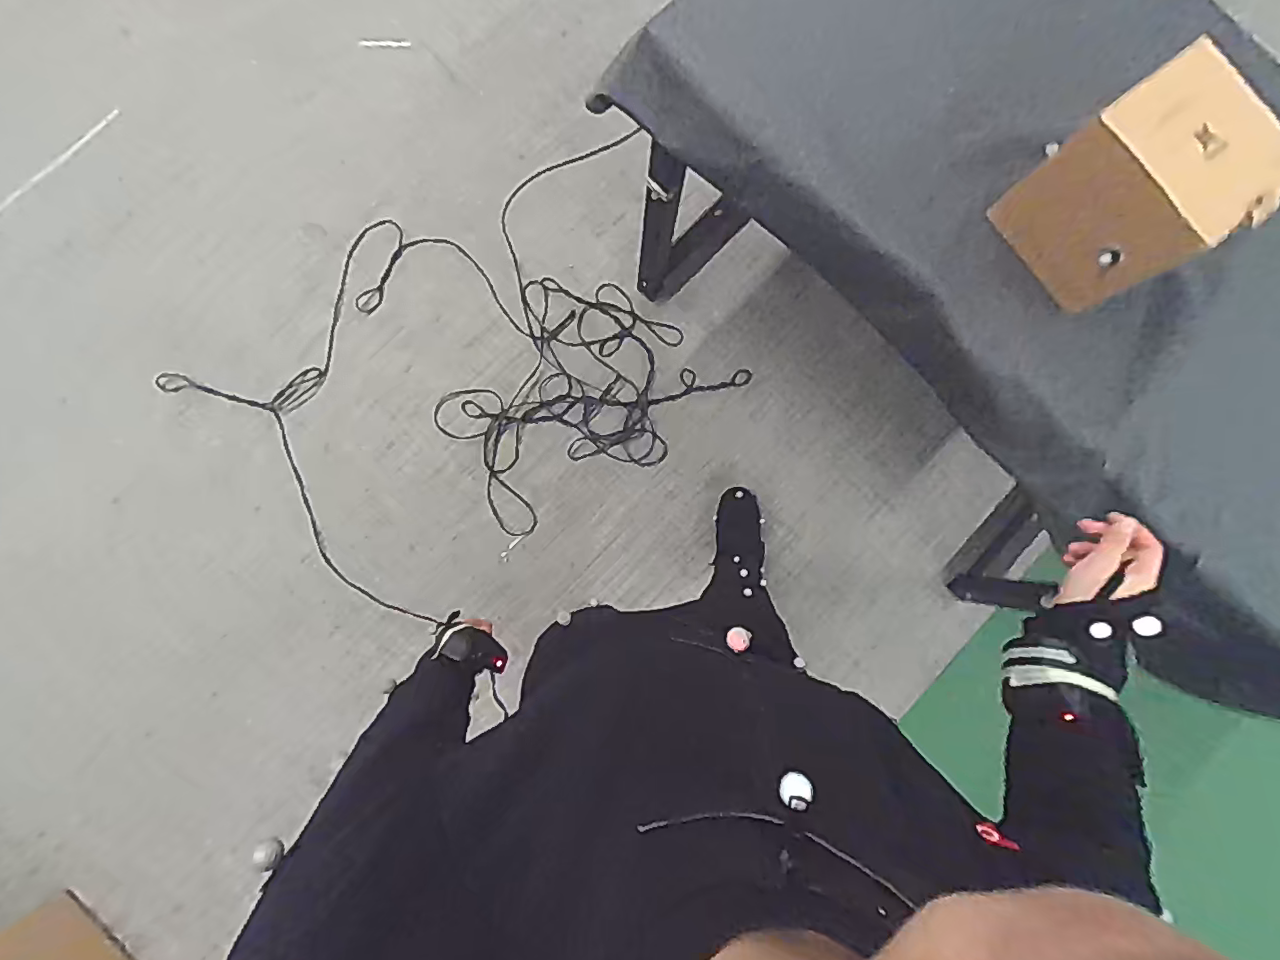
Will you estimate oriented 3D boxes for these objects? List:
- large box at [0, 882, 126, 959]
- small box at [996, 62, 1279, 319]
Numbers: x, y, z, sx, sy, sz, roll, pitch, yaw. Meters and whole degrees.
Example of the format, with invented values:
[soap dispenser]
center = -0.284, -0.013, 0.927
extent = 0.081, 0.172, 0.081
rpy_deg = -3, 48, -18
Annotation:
[large box]
center = -1.266, 1.116, 1.033
extent = 0.408, 0.320, 0.320
rpy_deg = 45, 82, 3
[small box]
center = 0.575, -0.312, 0.627
extent = 0.168, 0.176, 0.179
rpy_deg = -35, 86, -8
